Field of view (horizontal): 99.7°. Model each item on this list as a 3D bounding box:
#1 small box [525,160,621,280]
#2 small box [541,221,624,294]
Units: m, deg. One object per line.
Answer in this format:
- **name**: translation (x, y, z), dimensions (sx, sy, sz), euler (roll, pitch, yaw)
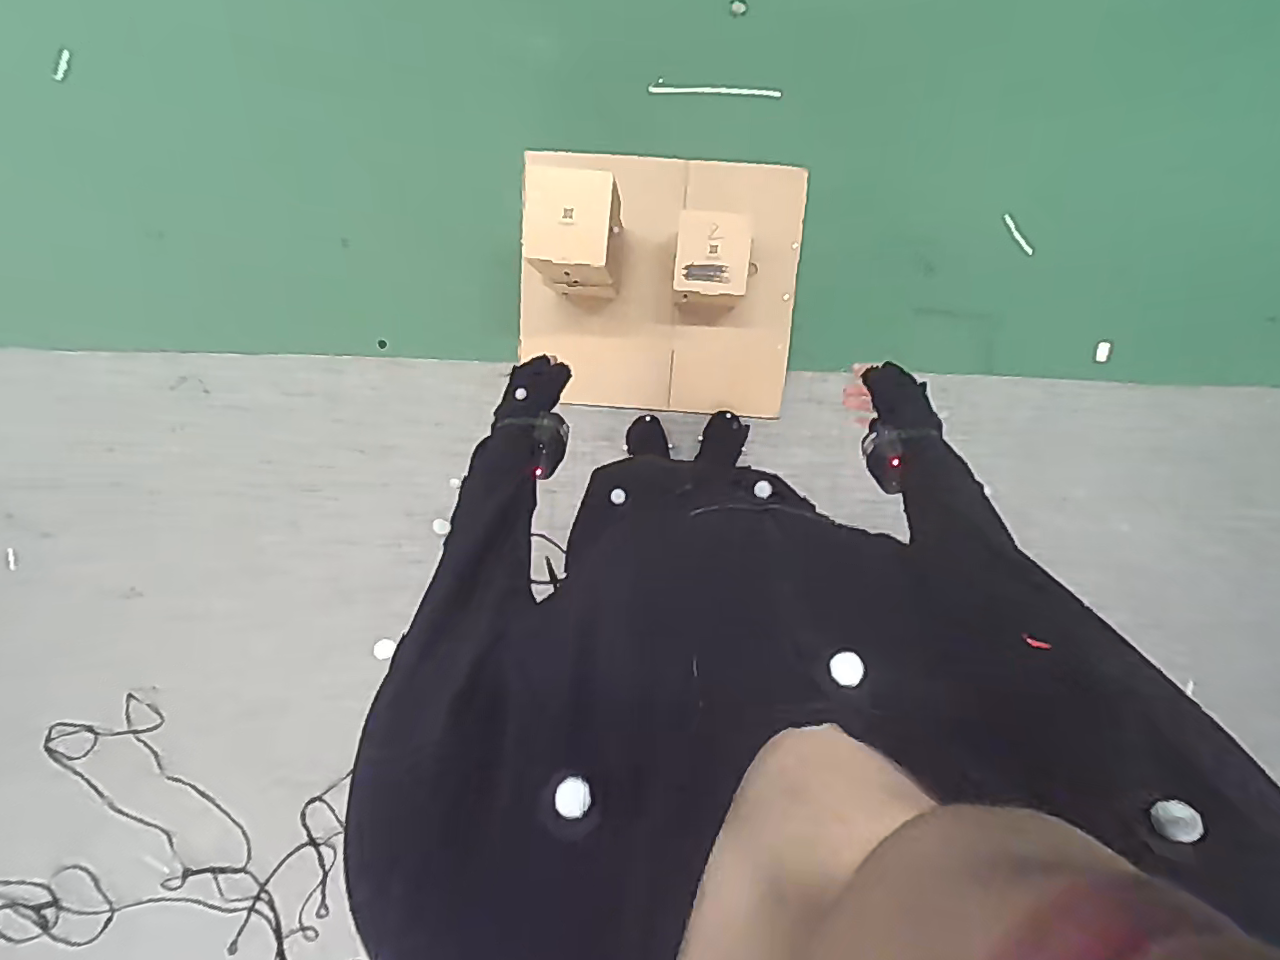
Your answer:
- **small box**: translation (-0.131, -0.528, 1.117), dimensions (0.168, 0.176, 0.179), euler (7, 101, 1)
- **small box**: translation (-0.130, -0.545, 1.279), dimensions (0.168, 0.176, 0.179), euler (6, 100, 2)
